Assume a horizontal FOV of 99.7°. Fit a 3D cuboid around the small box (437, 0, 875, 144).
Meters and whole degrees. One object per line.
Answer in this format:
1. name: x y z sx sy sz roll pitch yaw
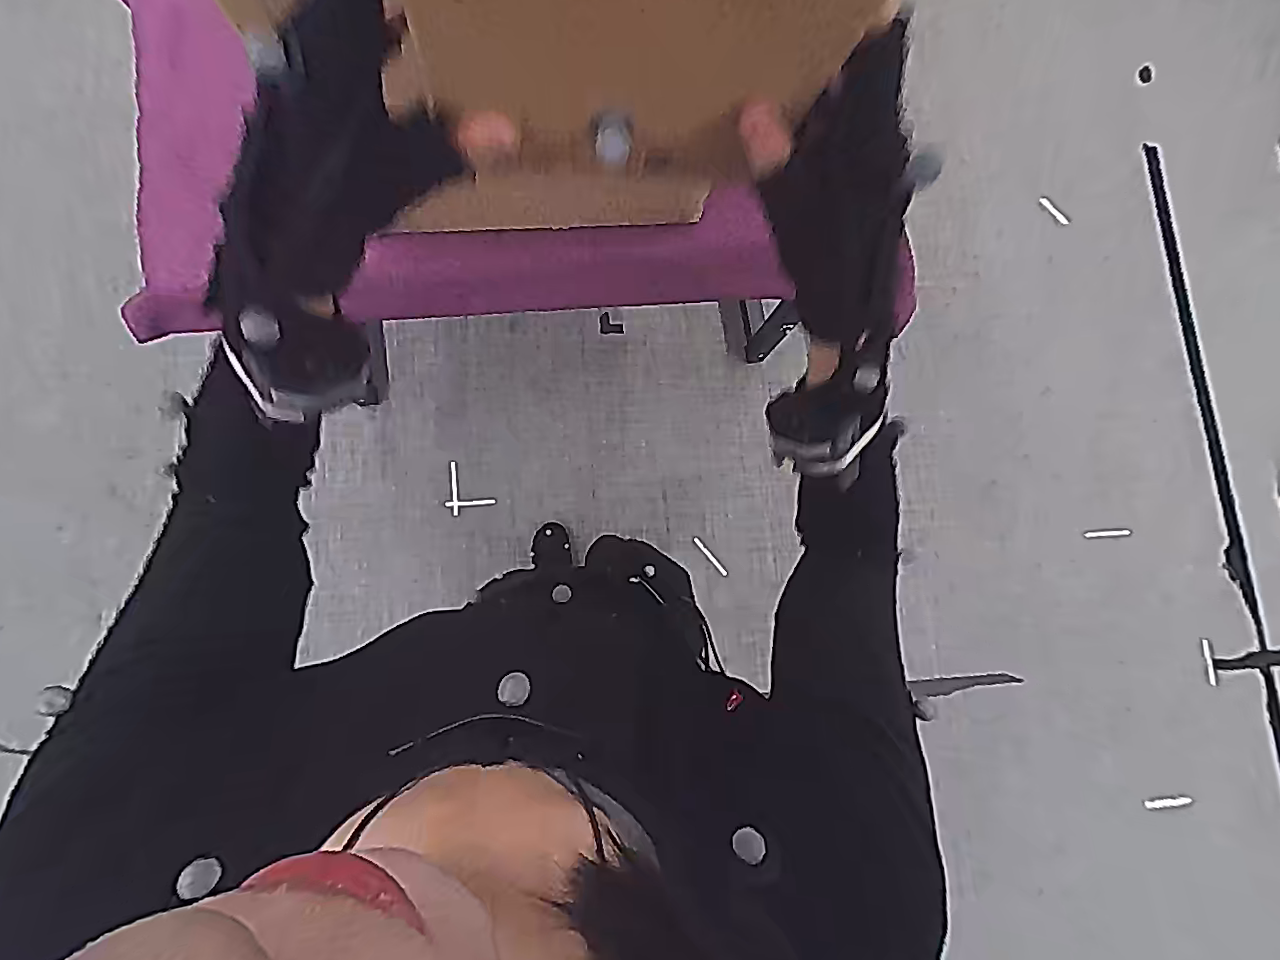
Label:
1. small box: 0.004 -0.256 0.187 0.168 0.176 0.179 -3 93 -10
